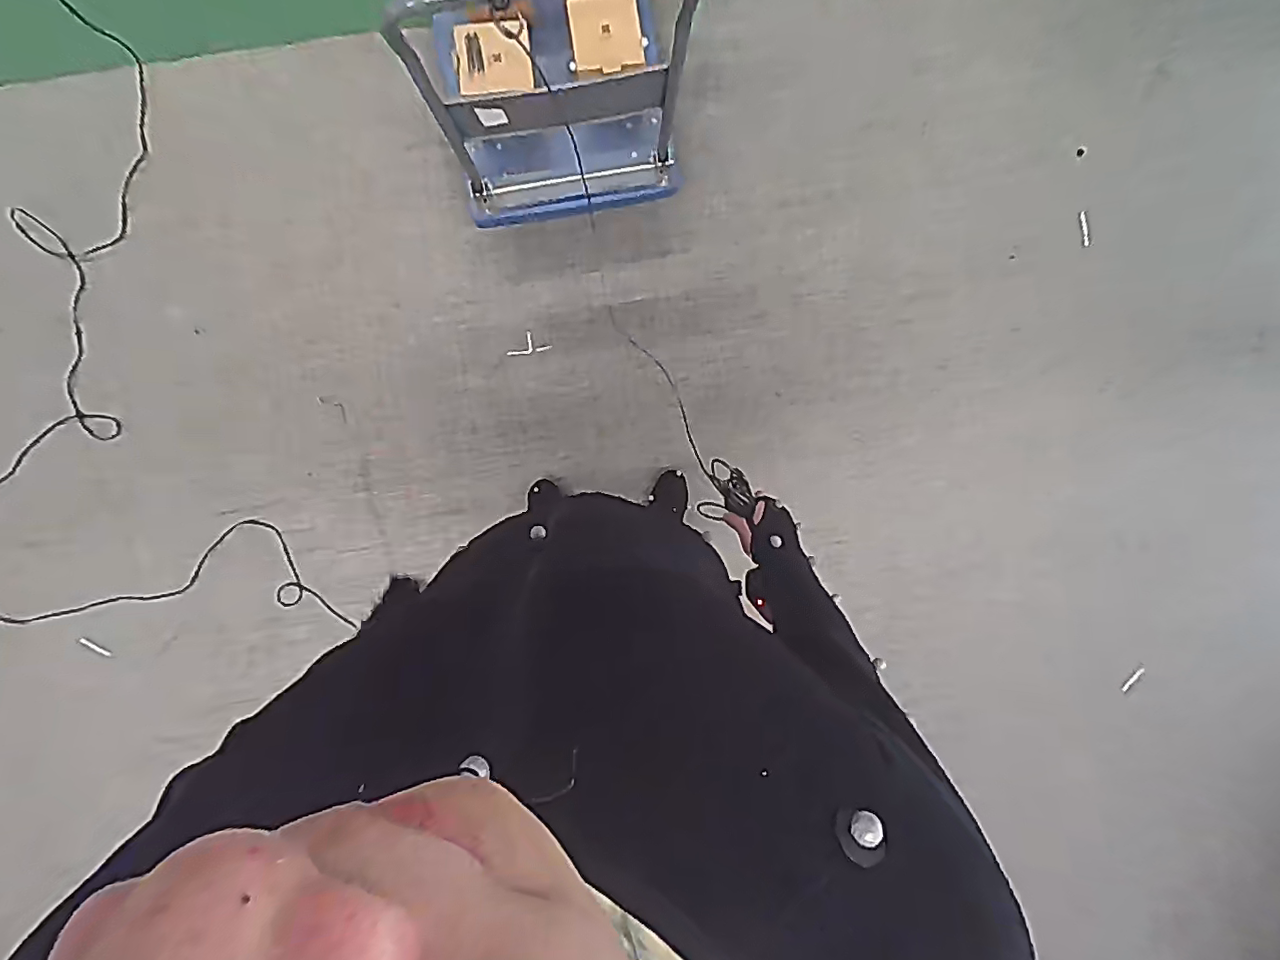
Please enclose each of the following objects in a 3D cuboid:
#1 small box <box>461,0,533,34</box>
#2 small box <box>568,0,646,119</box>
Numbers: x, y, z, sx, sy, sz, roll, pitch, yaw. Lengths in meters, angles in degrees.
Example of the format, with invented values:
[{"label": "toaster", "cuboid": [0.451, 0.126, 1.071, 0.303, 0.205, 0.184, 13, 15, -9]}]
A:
[{"label": "small box", "cuboid": [-0.372, -1.255, 1.337, 0.168, 0.176, 0.179, -14, 92, -2]}, {"label": "small box", "cuboid": [-0.082, -1.050, 1.350, 0.168, 0.176, 0.179, -9, 92, -1]}]
